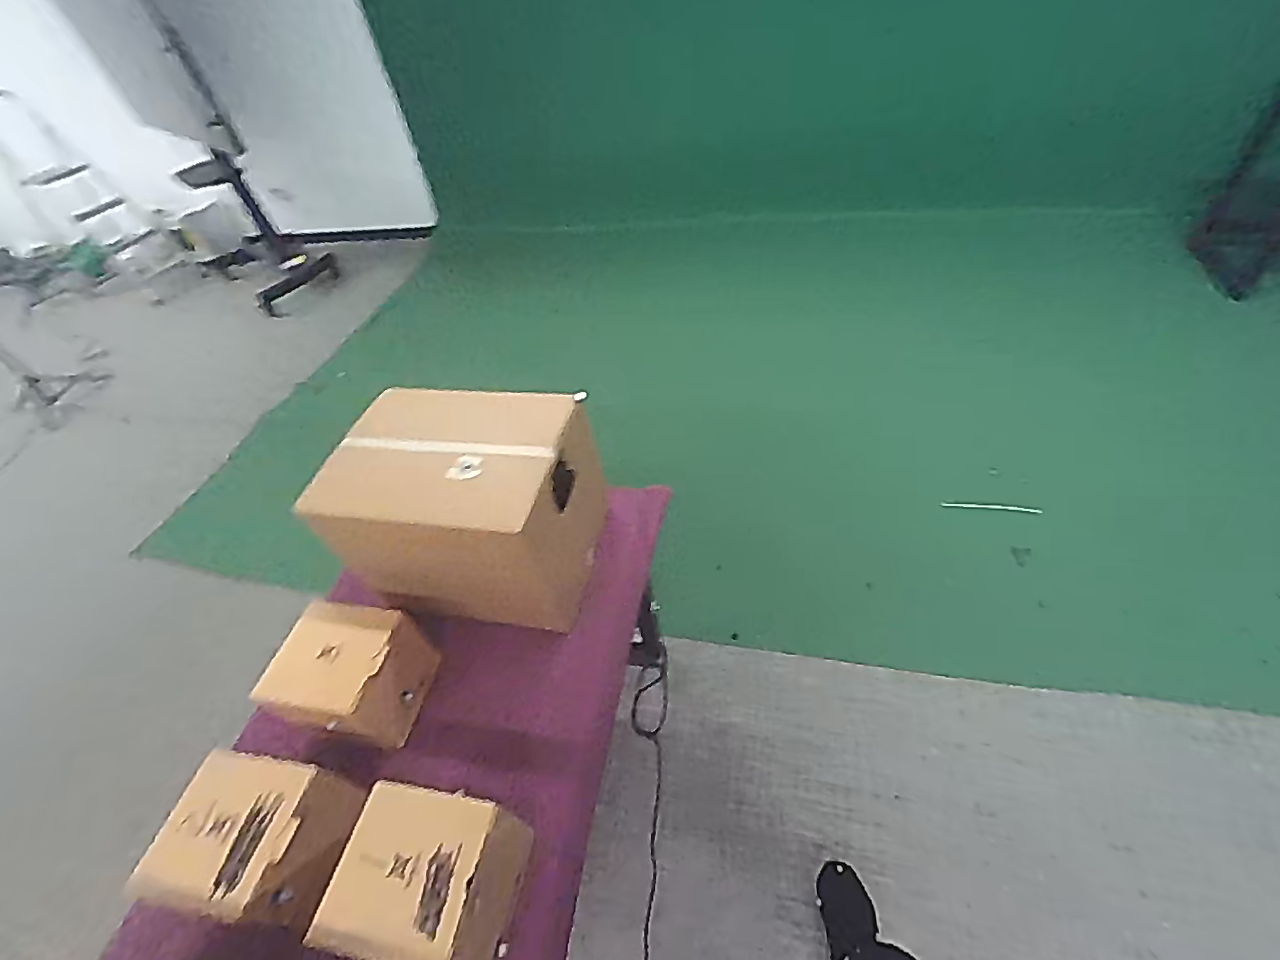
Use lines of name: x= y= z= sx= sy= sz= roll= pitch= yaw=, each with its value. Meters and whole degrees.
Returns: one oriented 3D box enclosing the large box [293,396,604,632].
large box: x=-0.313 y=0.060 z=1.016 sx=0.408 sy=0.320 sz=0.320 roll=4 pitch=49 yaw=12
